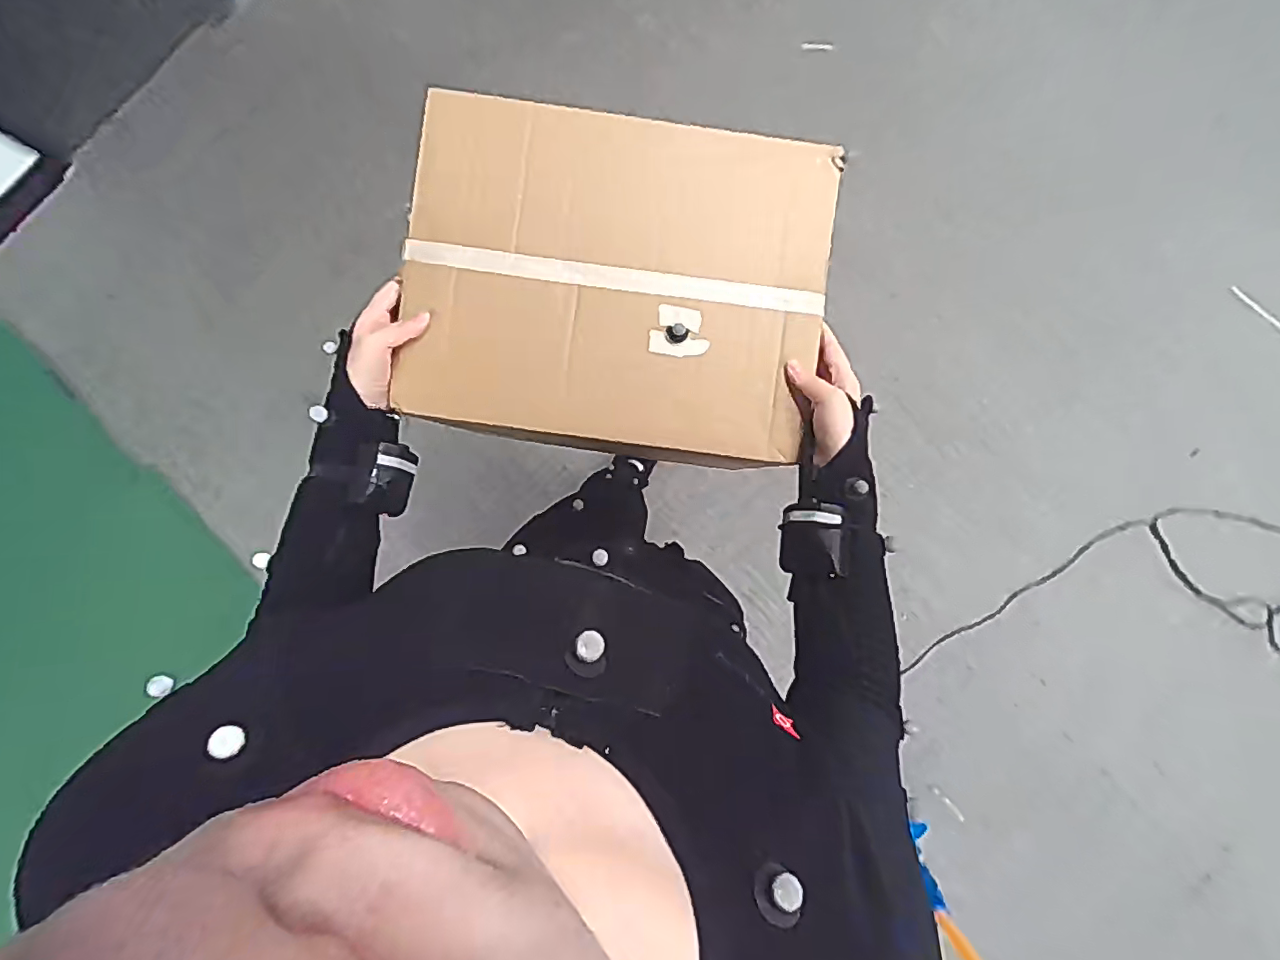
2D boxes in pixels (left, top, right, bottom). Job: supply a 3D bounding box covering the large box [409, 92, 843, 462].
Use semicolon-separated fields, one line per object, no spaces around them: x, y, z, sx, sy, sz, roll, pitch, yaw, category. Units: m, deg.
-0.019;-0.204;0.680;0.408;0.320;0.320;8;91;-2;large box
